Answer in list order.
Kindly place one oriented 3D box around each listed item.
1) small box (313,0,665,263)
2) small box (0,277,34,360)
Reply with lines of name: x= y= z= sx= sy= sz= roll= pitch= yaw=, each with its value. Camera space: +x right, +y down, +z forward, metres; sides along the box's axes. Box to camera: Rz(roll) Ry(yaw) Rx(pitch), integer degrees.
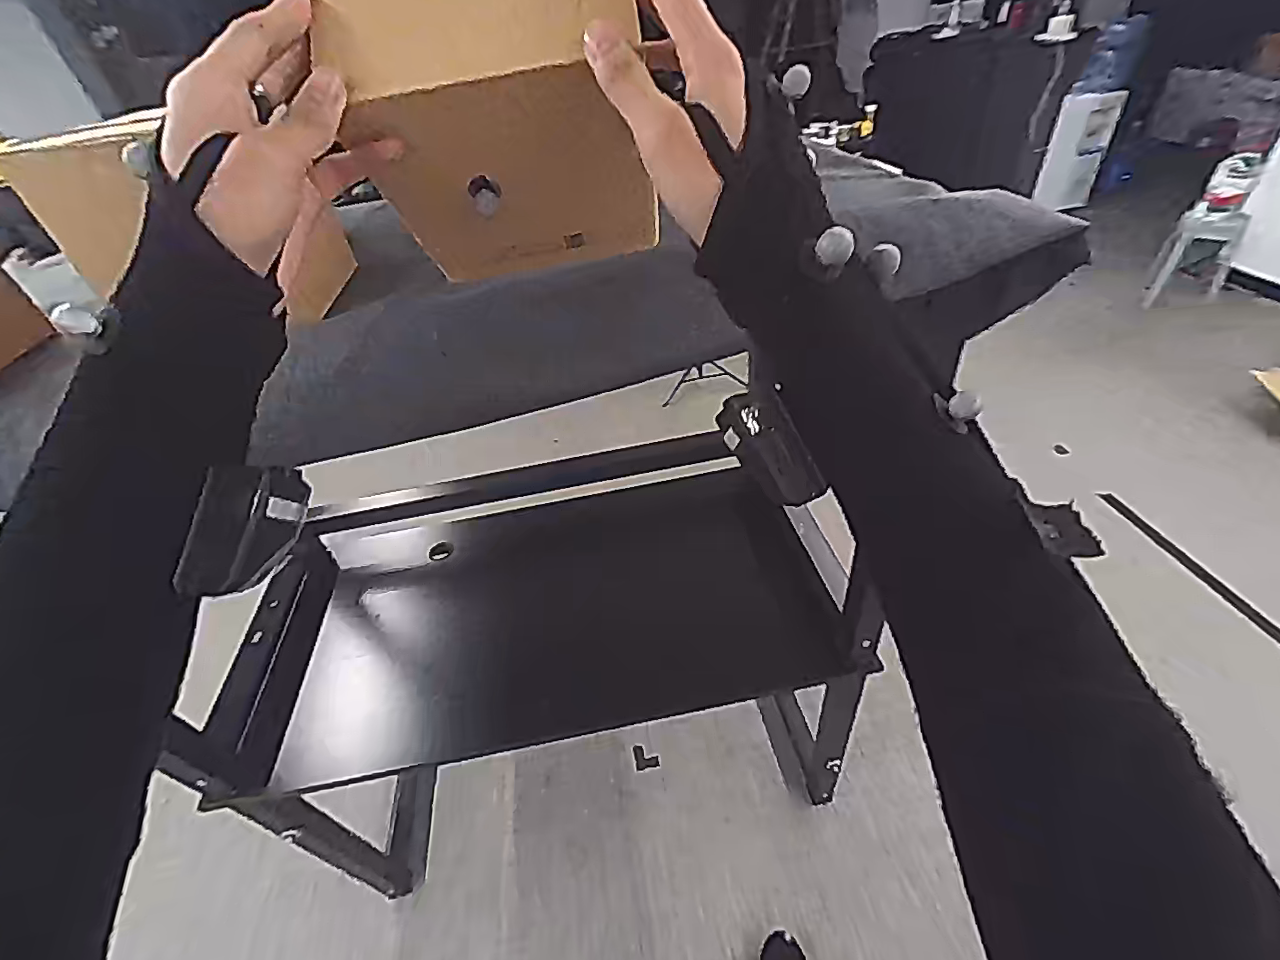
small box: x=-0.077 y=-0.262 z=0.347 sx=0.168 sy=0.176 sz=0.179 roll=-9 pitch=78 yaw=3
small box: x=-0.697 y=-0.153 z=0.455 sx=0.168 sy=0.176 sz=0.179 roll=-13 pitch=40 yaw=-4
